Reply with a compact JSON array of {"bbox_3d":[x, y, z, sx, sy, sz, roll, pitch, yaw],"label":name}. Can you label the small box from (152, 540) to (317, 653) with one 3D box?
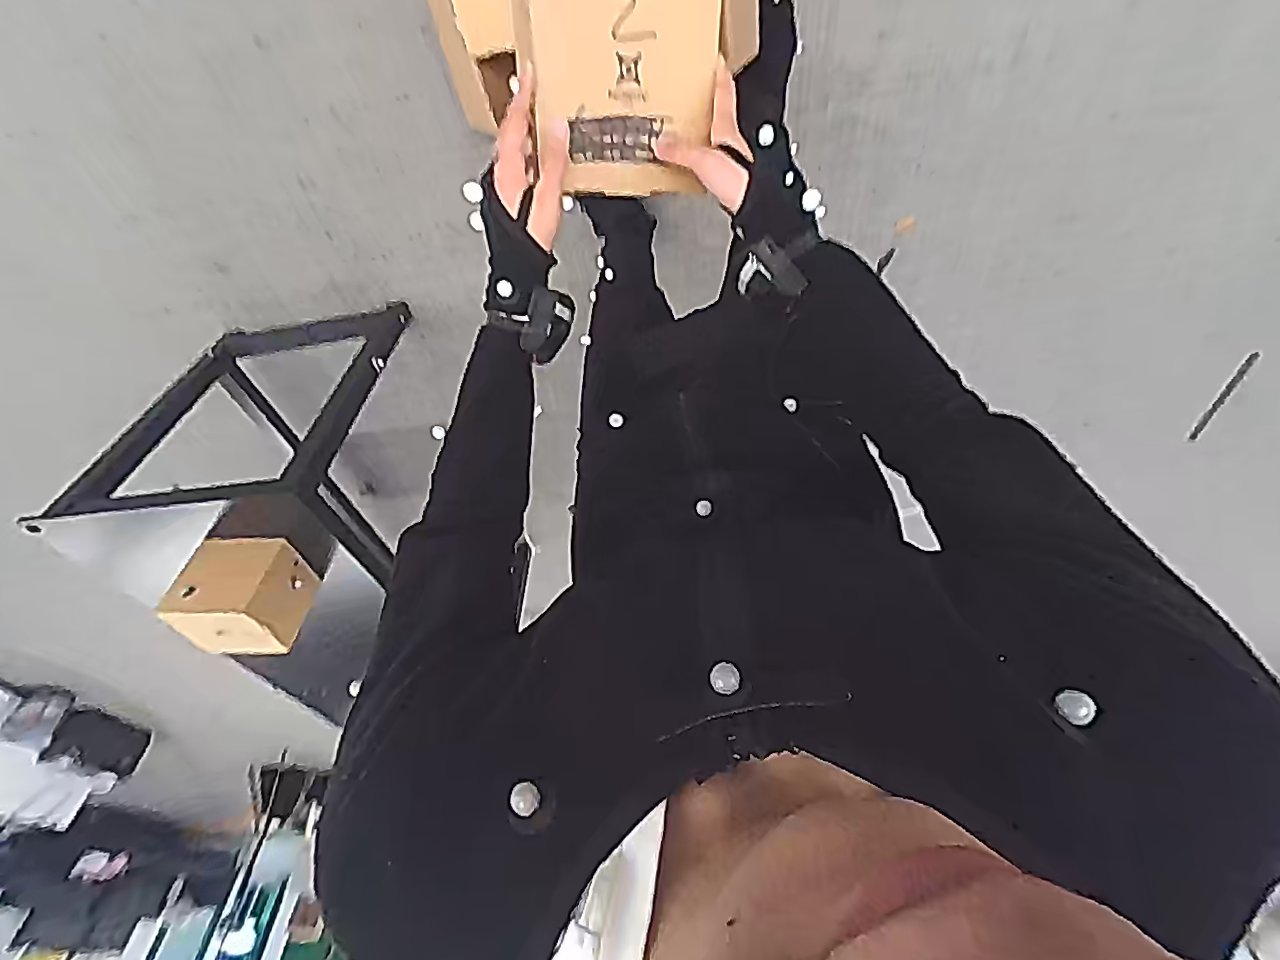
[{"bbox_3d":[-0.800,0.232,1.092,0.179,0.176,0.168,-1,138,1],"label":"small box"}]
